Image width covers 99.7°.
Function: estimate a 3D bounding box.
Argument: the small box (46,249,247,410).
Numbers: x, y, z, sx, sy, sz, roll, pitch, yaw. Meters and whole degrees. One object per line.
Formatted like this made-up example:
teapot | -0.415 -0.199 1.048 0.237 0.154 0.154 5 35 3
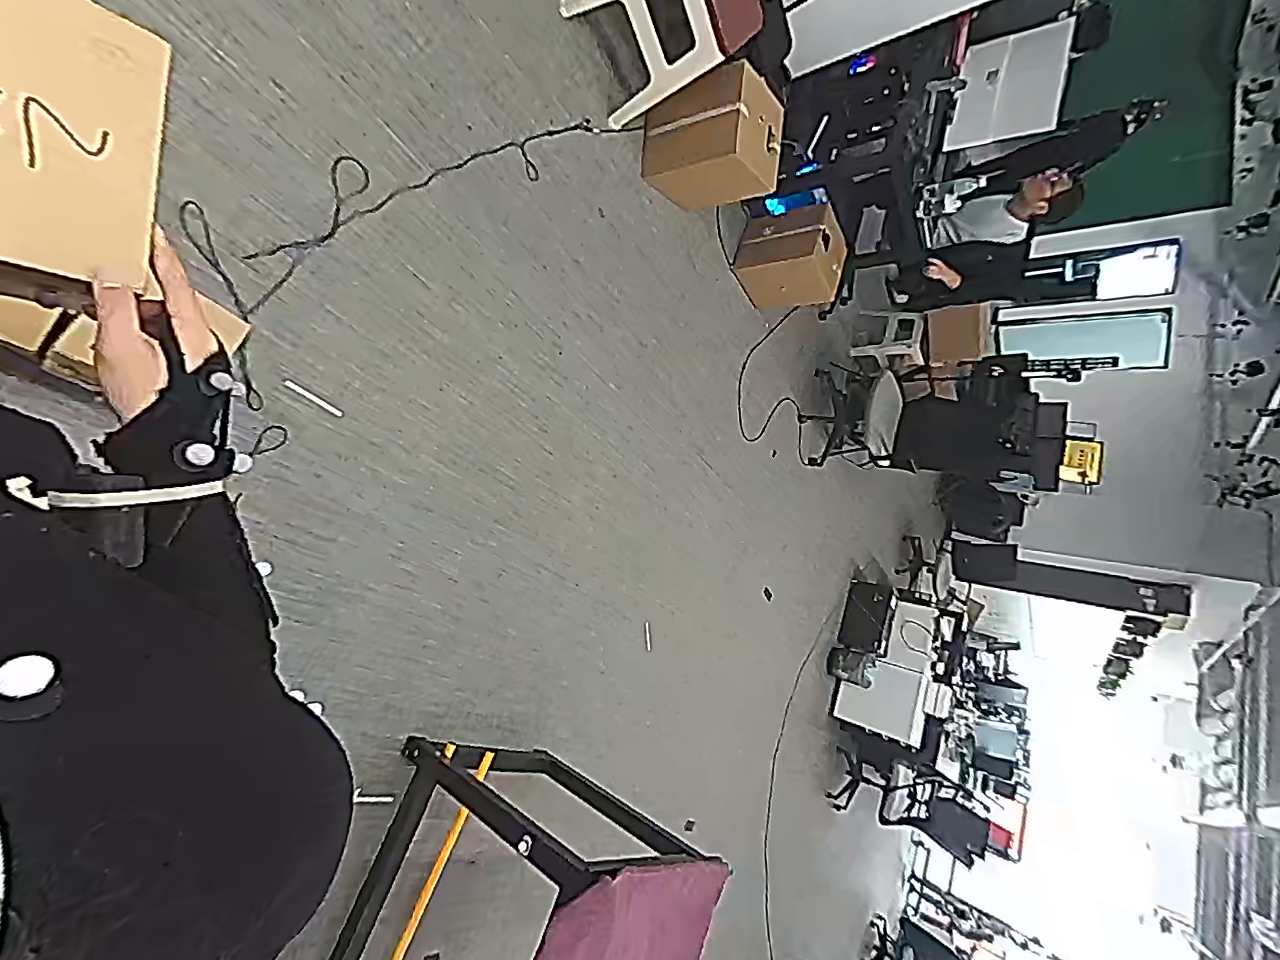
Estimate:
small box | -0.775 -0.226 0.852 0.168 0.176 0.179 42 63 -45
